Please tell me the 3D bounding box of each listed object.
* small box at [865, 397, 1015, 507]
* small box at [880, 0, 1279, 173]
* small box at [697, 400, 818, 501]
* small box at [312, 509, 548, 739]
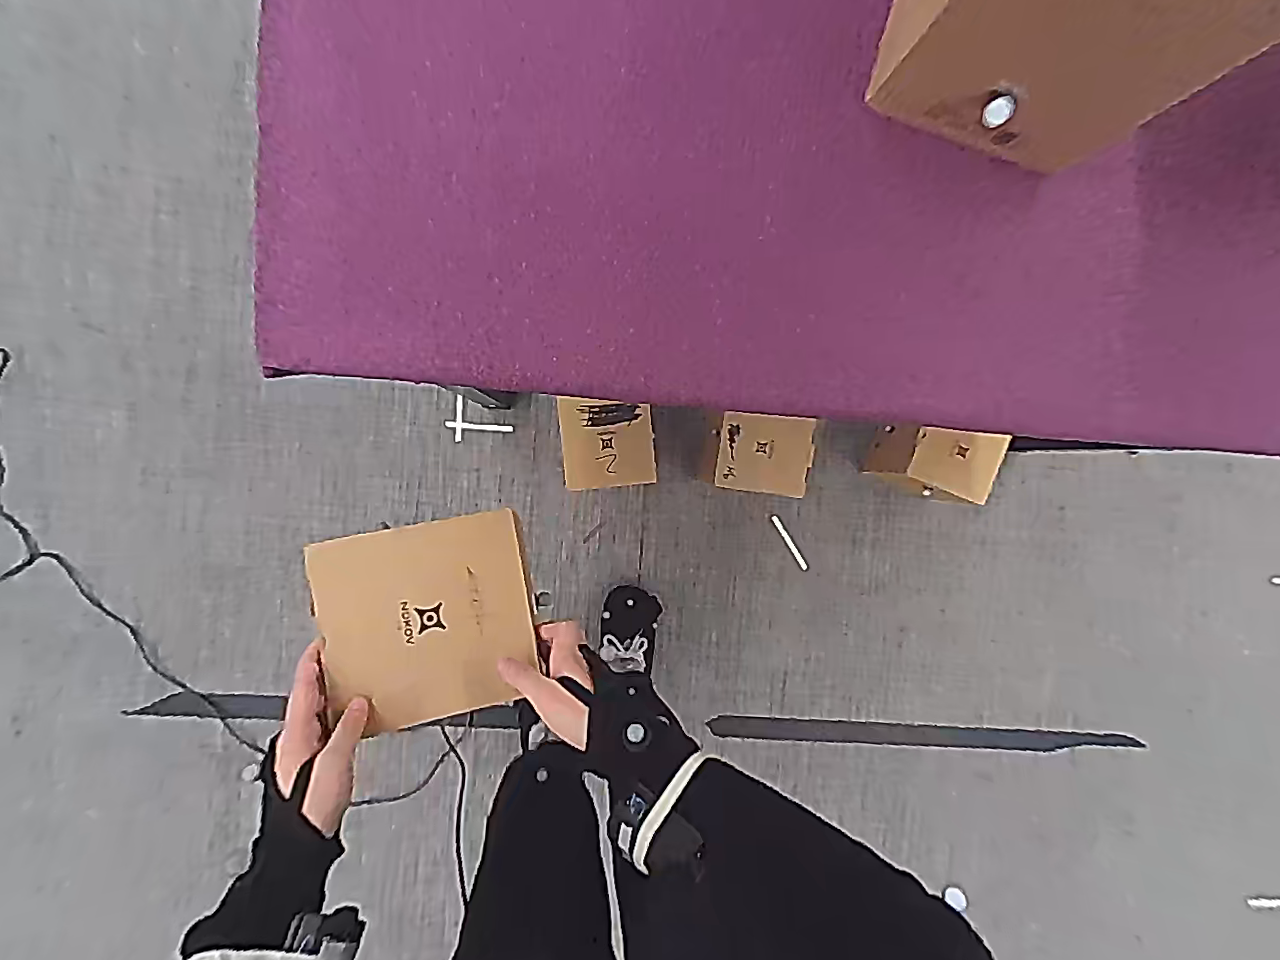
[{"bbox_3d":[0.602,-0.059,1.105,0.179,0.176,0.168,21,91,-5],"label":"small box"},{"bbox_3d":[0.278,-0.334,0.329,0.168,0.176,0.179,16,92,-6],"label":"small box"},{"bbox_3d":[0.224,-0.059,1.070,0.179,0.176,0.168,8,92,-6],"label":"small box"},{"bbox_3d":[-0.192,0.130,0.544,0.179,0.176,0.168,-11,85,-11],"label":"small box"}]
